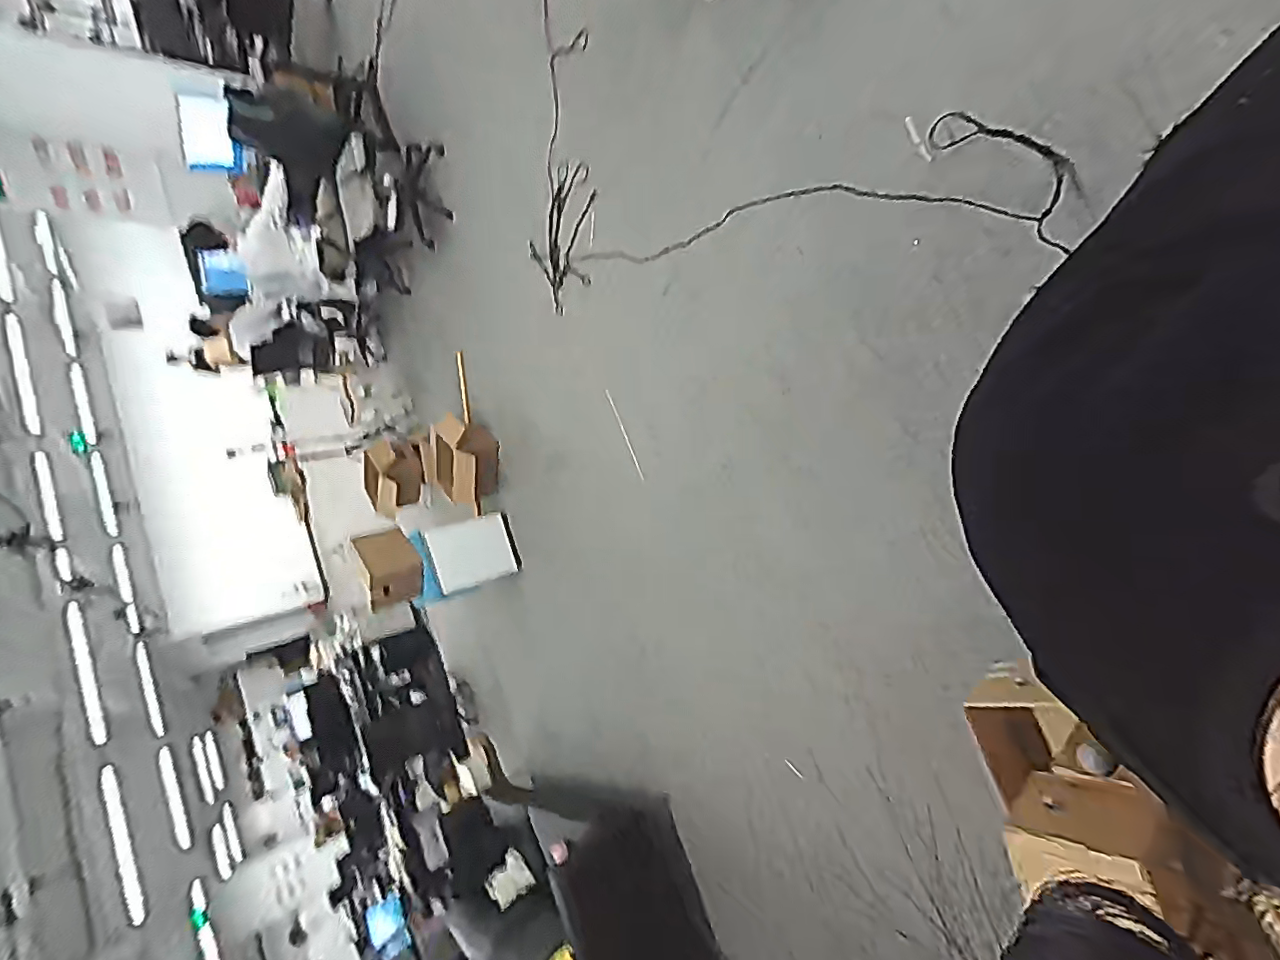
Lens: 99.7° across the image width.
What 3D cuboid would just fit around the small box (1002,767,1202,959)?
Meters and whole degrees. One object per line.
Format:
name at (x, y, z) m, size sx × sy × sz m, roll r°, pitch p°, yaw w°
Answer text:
small box at (0.669, 0.552, 0.784) m, size 0.168 × 0.176 × 0.179 m, roll -21°, pitch 85°, yaw 53°

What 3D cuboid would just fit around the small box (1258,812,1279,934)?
small box at (0.818, 0.486, 0.572) m, size 0.168 × 0.176 × 0.179 m, roll -35°, pitch 74°, yaw 51°
